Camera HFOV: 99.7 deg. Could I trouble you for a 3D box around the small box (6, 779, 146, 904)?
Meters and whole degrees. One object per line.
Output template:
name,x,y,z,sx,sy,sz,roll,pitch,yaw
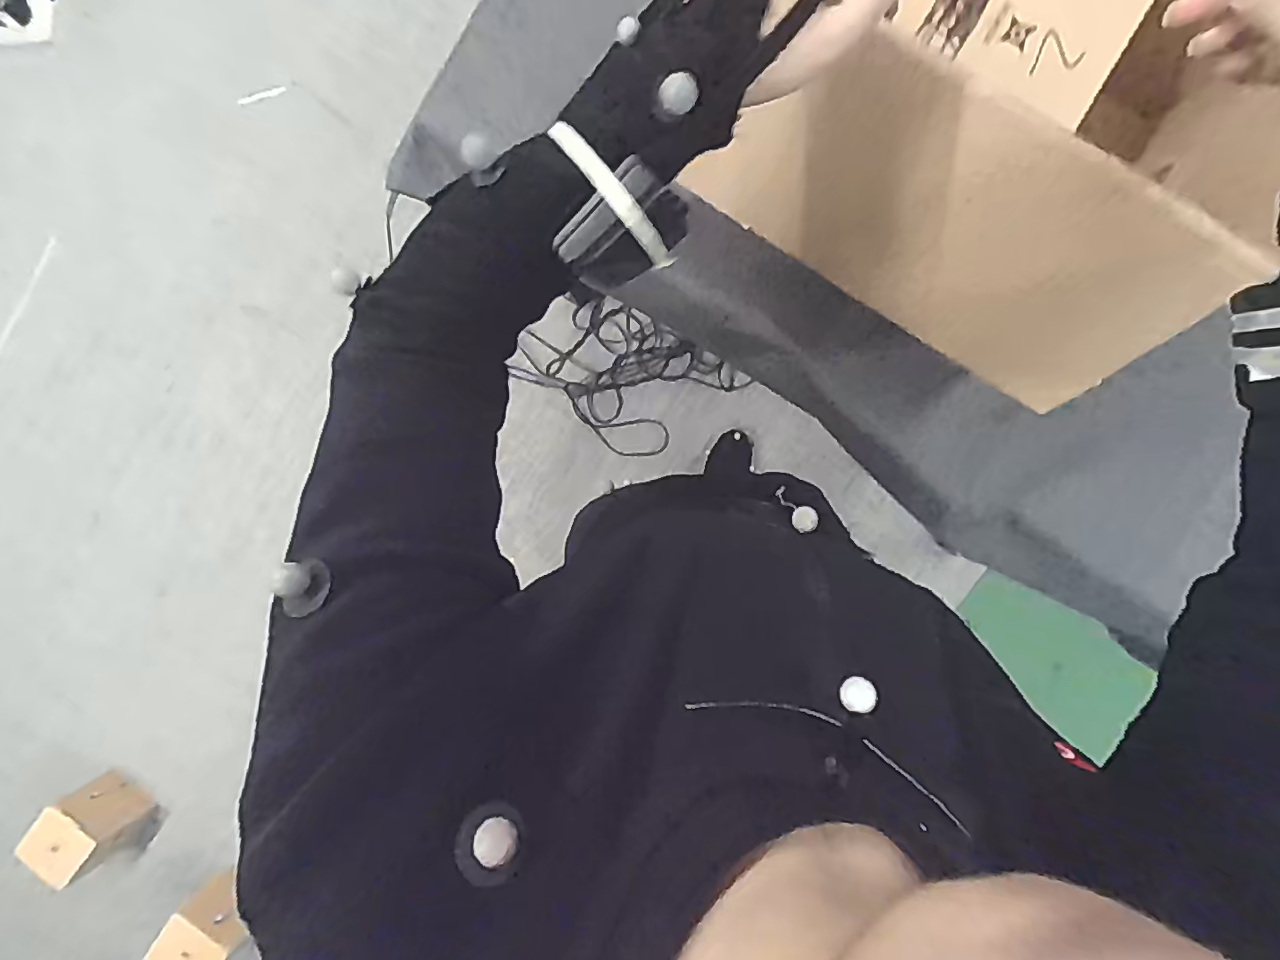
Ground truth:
small box,-1.472,0.940,1.427,0.168,0.176,0.179,38,95,3

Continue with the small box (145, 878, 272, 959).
small box,-1.127,1.199,1.414,0.179,0.176,0.168,34,94,1
